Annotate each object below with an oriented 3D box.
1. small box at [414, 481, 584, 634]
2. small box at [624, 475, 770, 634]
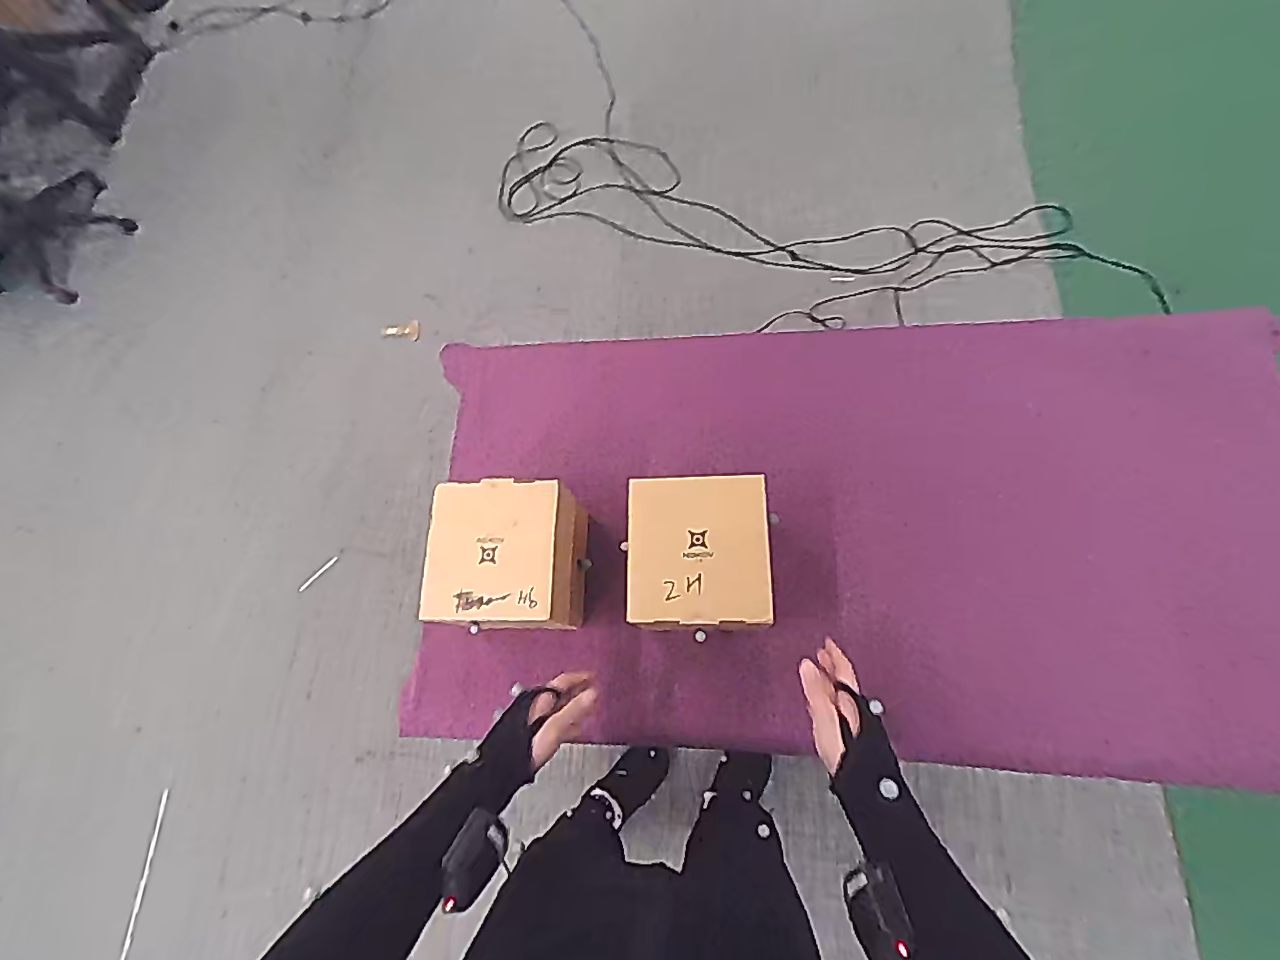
[{"bbox_3d":[-0.176,0.111,0.734,0.168,0.176,0.179,-2,71,8],"label":"small box"},{"bbox_3d":[0.074,0.103,0.703,0.168,0.176,0.179,-2,71,7],"label":"small box"}]
